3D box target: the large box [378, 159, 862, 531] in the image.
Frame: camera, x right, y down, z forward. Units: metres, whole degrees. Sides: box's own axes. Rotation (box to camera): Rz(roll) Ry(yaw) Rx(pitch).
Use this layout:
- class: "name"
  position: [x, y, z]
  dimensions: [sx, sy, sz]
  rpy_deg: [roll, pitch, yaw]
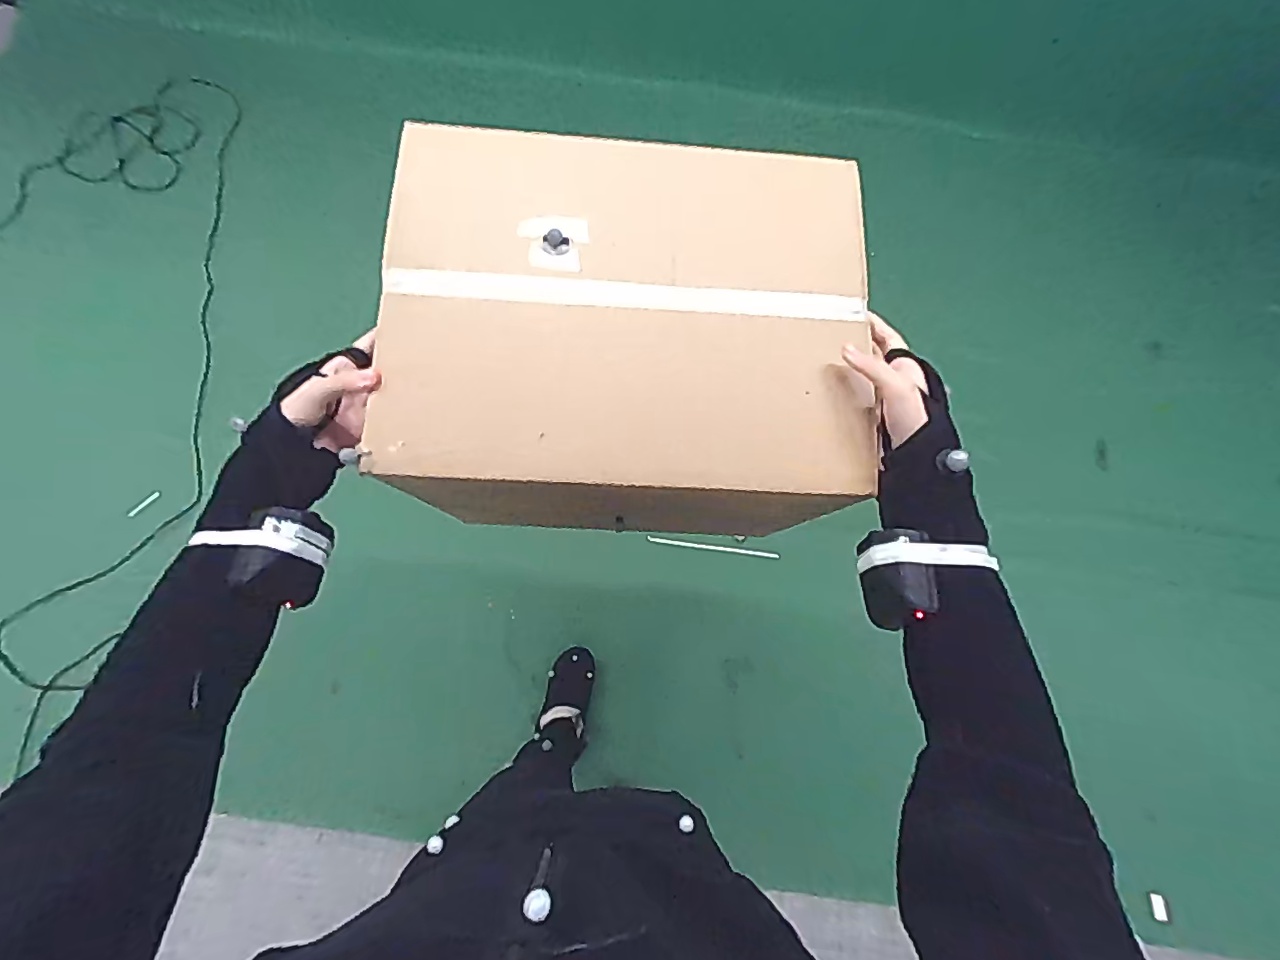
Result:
- class: "large box"
  position: [-0.016, -0.110, 0.615]
  dimensions: [0.408, 0.320, 0.320]
  rpy_deg: [2, 77, -2]
